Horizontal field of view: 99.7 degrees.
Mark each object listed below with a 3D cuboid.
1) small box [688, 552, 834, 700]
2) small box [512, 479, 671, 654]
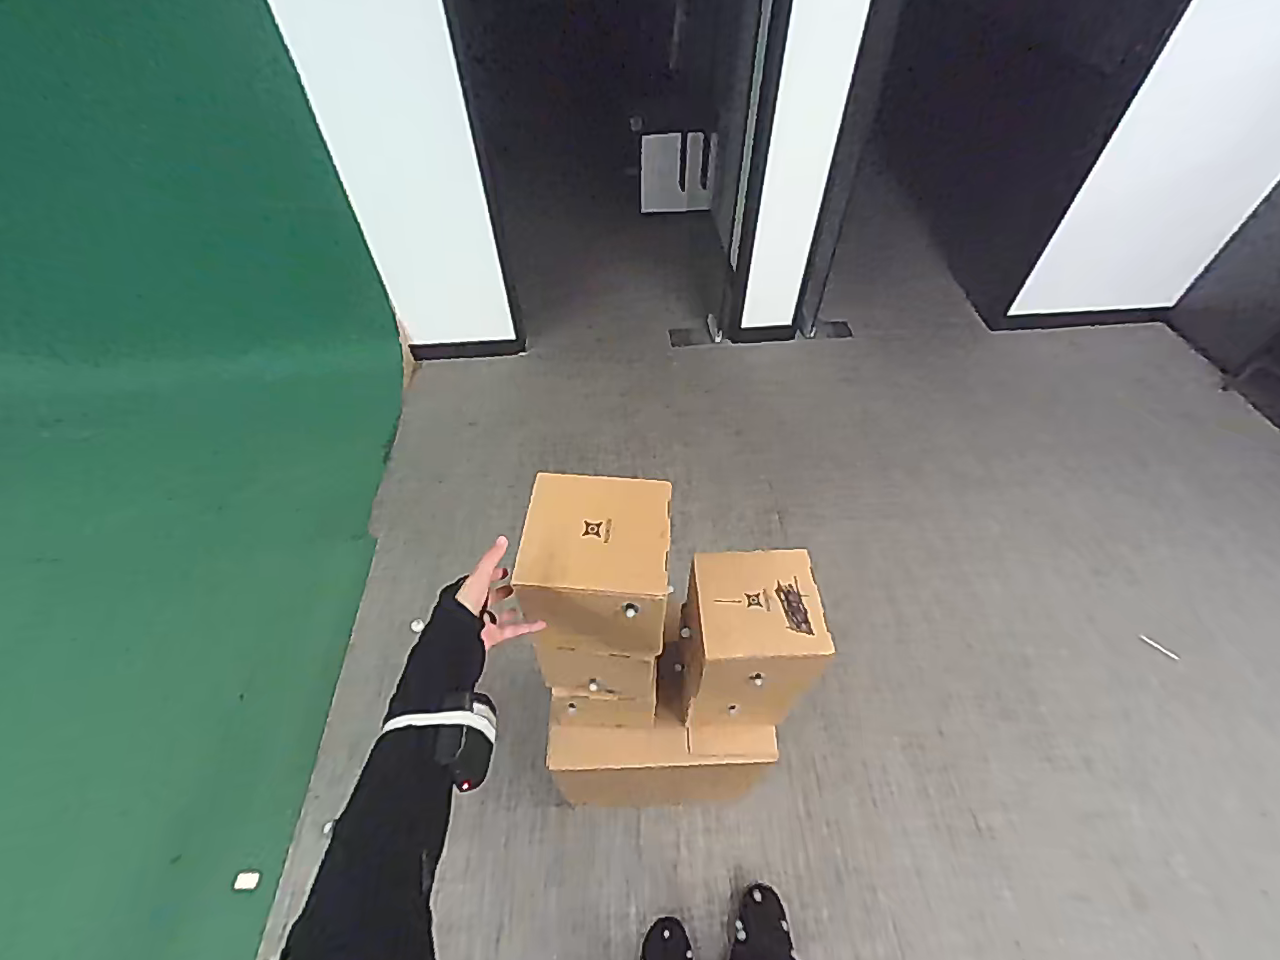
[{"bbox_3d":[0.171,0.226,0.826,0.179,0.176,0.168,-3,51,0],"label":"small box"},{"bbox_3d":[-0.052,0.116,0.709,0.179,0.176,0.168,3,51,2],"label":"small box"}]
